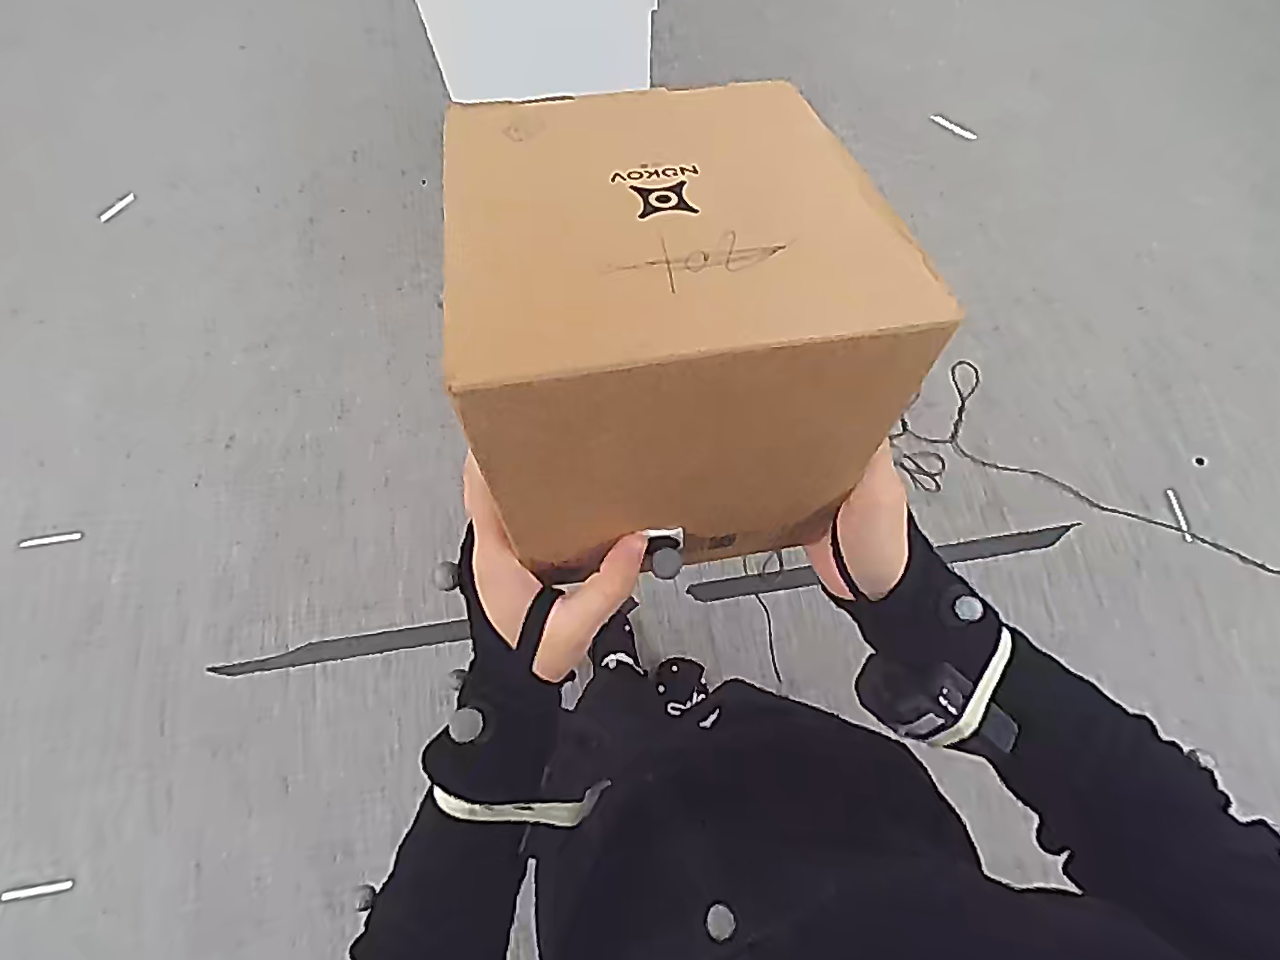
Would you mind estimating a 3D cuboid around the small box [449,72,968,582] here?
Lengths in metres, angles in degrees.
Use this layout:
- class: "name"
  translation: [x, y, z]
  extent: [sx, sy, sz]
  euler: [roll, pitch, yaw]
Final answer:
- class: "small box"
  translation: [0.009, -0.070, 0.275]
  extent: [0.168, 0.176, 0.179]
  euler: [-10, 59, -6]
